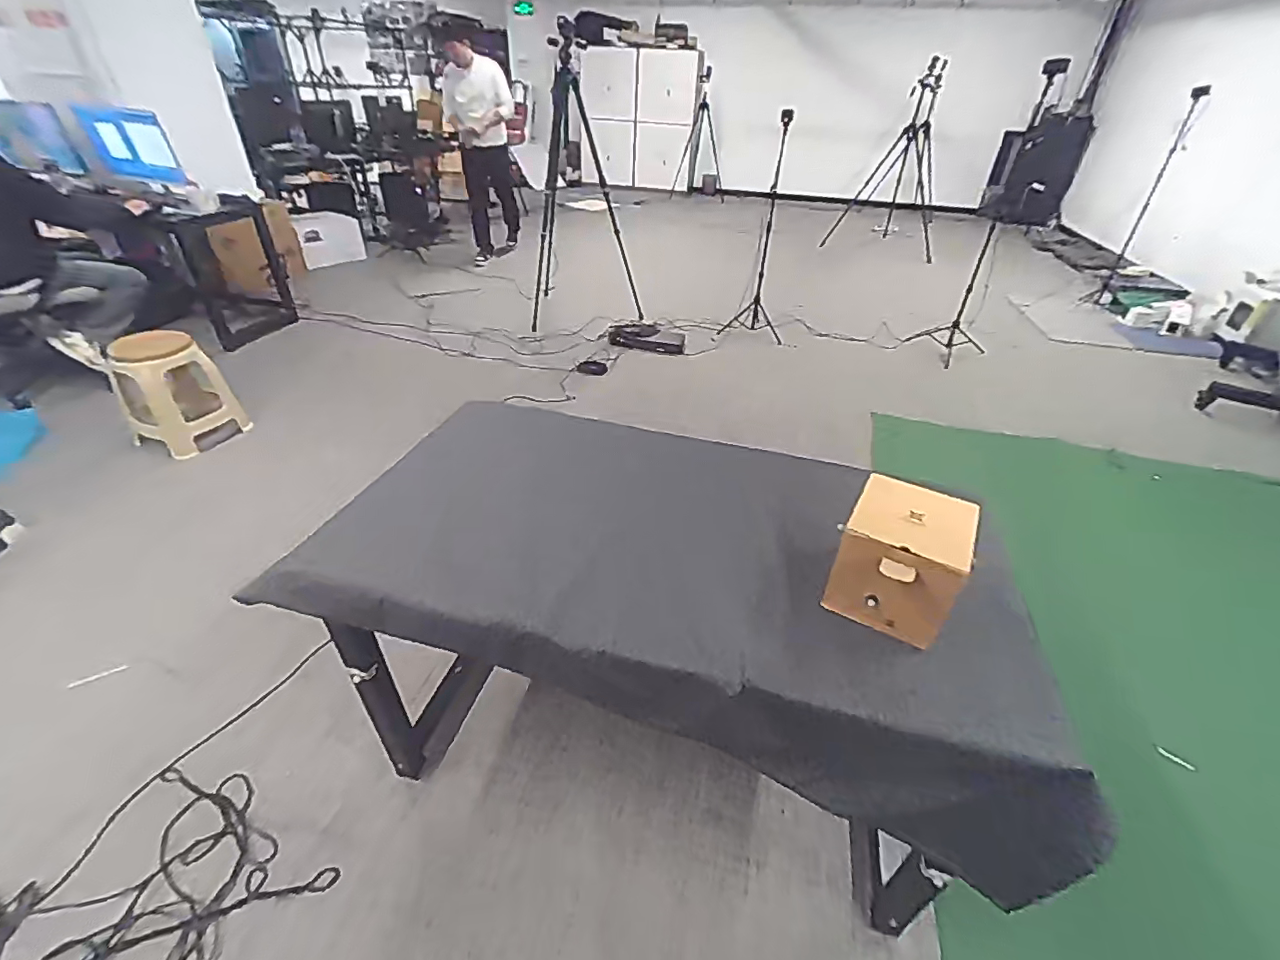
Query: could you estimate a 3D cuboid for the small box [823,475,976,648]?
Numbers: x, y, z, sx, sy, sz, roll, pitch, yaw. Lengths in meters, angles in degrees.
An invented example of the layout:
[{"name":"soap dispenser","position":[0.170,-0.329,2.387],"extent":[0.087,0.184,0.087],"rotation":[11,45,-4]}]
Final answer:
[{"name":"small box","position":[0.405,0.124,0.855],"extent":[0.168,0.176,0.179],"rotation":[21,40,23]}]
